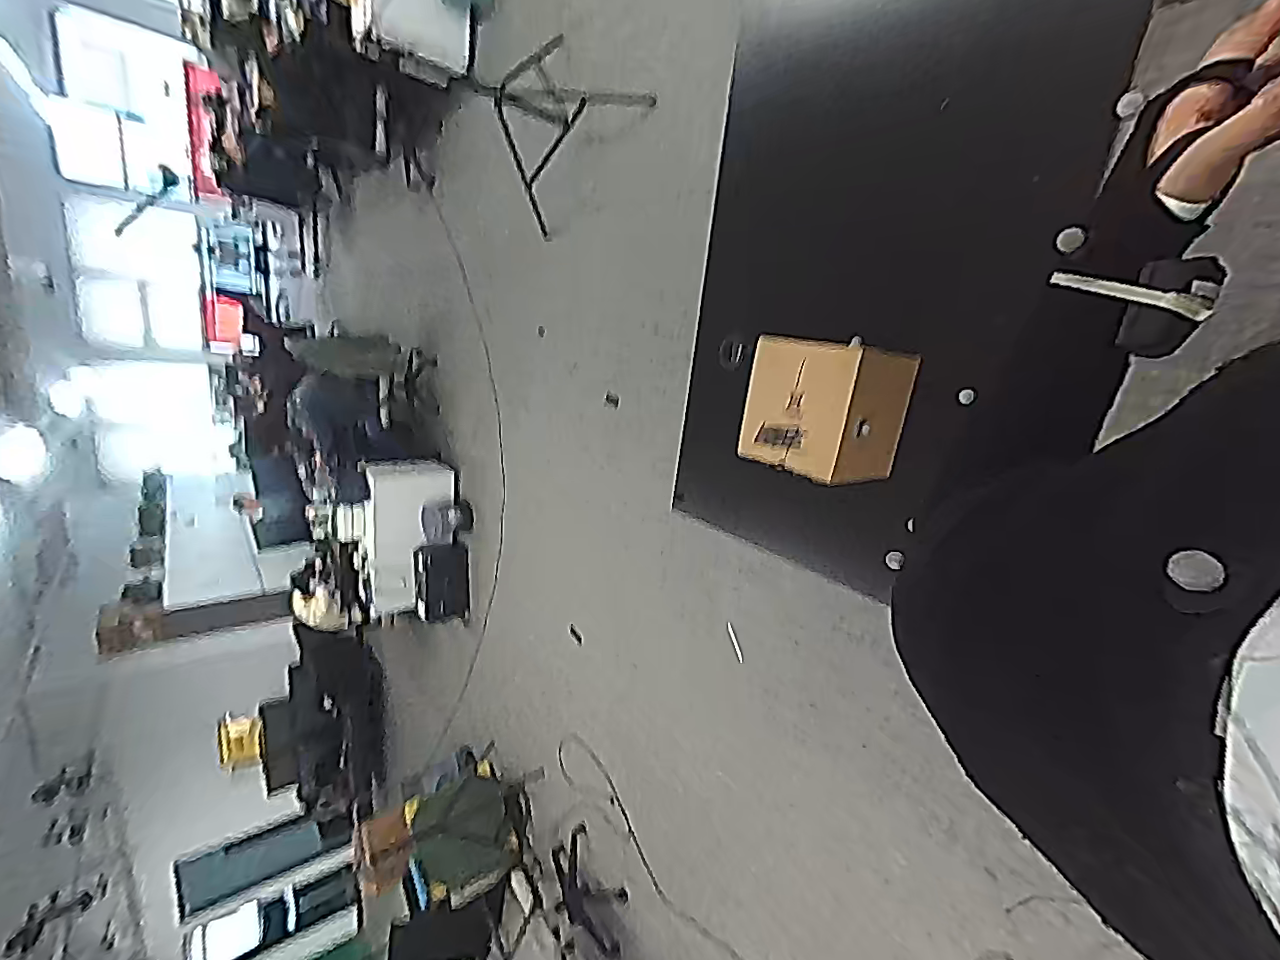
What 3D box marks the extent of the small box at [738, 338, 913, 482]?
[{"bbox_3d":[0.274,-0.107,0.801,0.168,0.176,0.179,24,111,46],"label":"small box"}]
